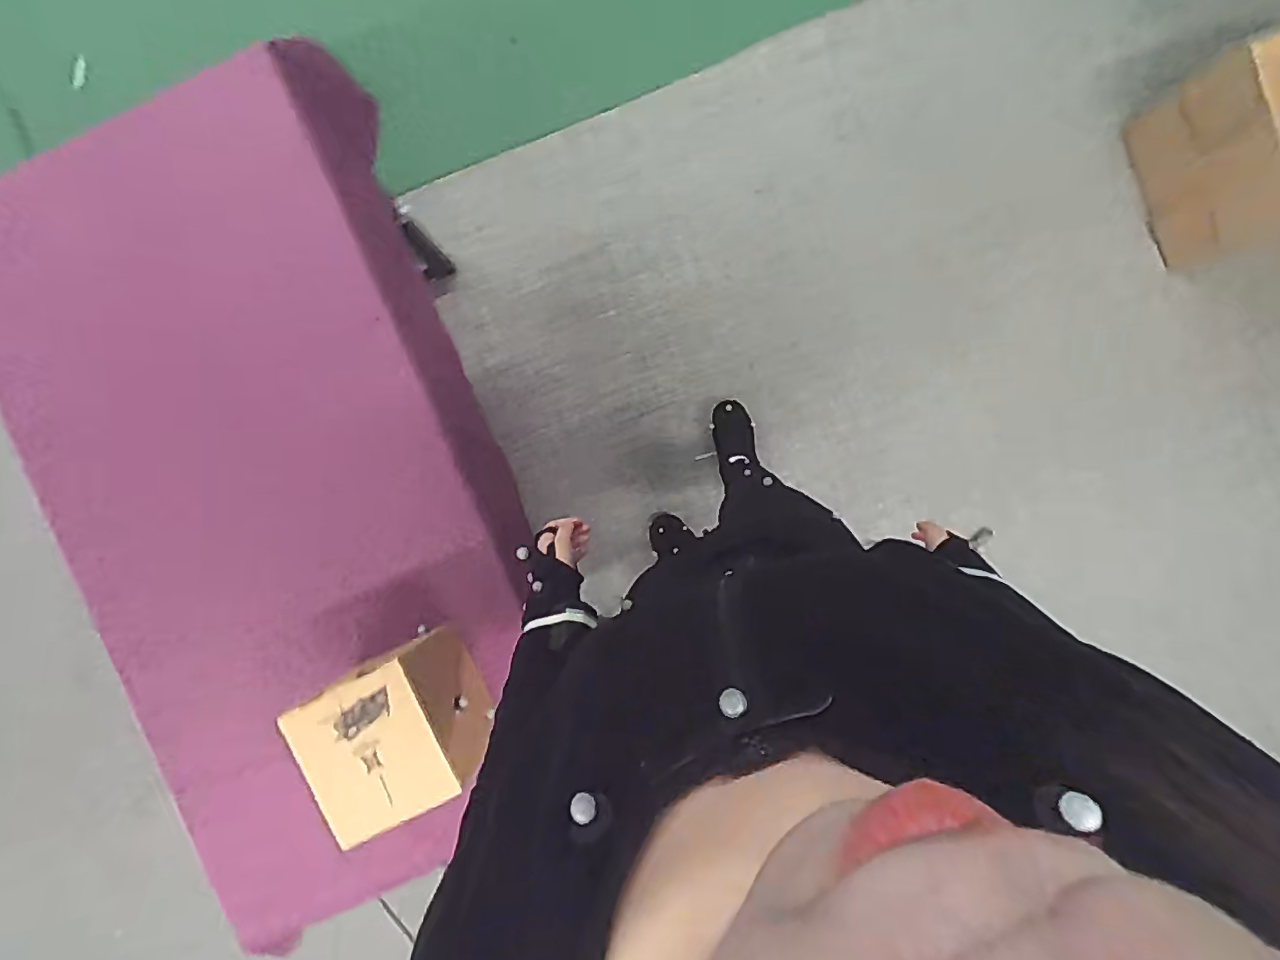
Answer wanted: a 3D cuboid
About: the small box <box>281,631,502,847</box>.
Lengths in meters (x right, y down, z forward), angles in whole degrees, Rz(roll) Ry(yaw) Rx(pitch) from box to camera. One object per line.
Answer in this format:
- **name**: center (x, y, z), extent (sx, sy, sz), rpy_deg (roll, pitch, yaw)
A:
- **small box**: center (-0.309, 0.318, 0.710), extent (0.168, 0.176, 0.179), rpy_deg (-27, 91, 3)
